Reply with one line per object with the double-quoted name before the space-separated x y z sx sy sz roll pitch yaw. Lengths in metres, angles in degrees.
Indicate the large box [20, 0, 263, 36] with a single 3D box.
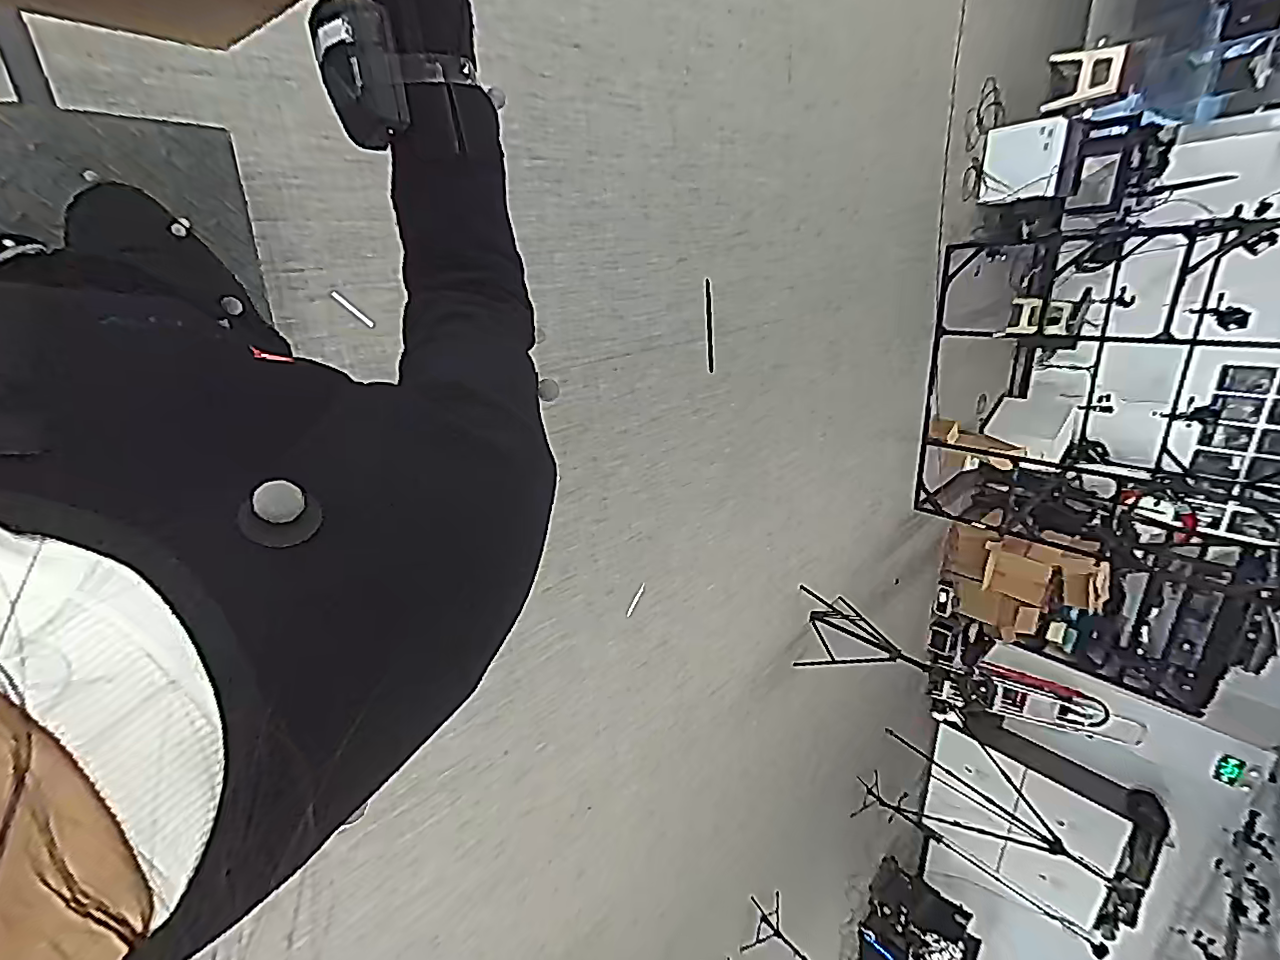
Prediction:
"large box" -0.412 -0.417 0.199 0.408 0.320 0.320 -20 127 -39
